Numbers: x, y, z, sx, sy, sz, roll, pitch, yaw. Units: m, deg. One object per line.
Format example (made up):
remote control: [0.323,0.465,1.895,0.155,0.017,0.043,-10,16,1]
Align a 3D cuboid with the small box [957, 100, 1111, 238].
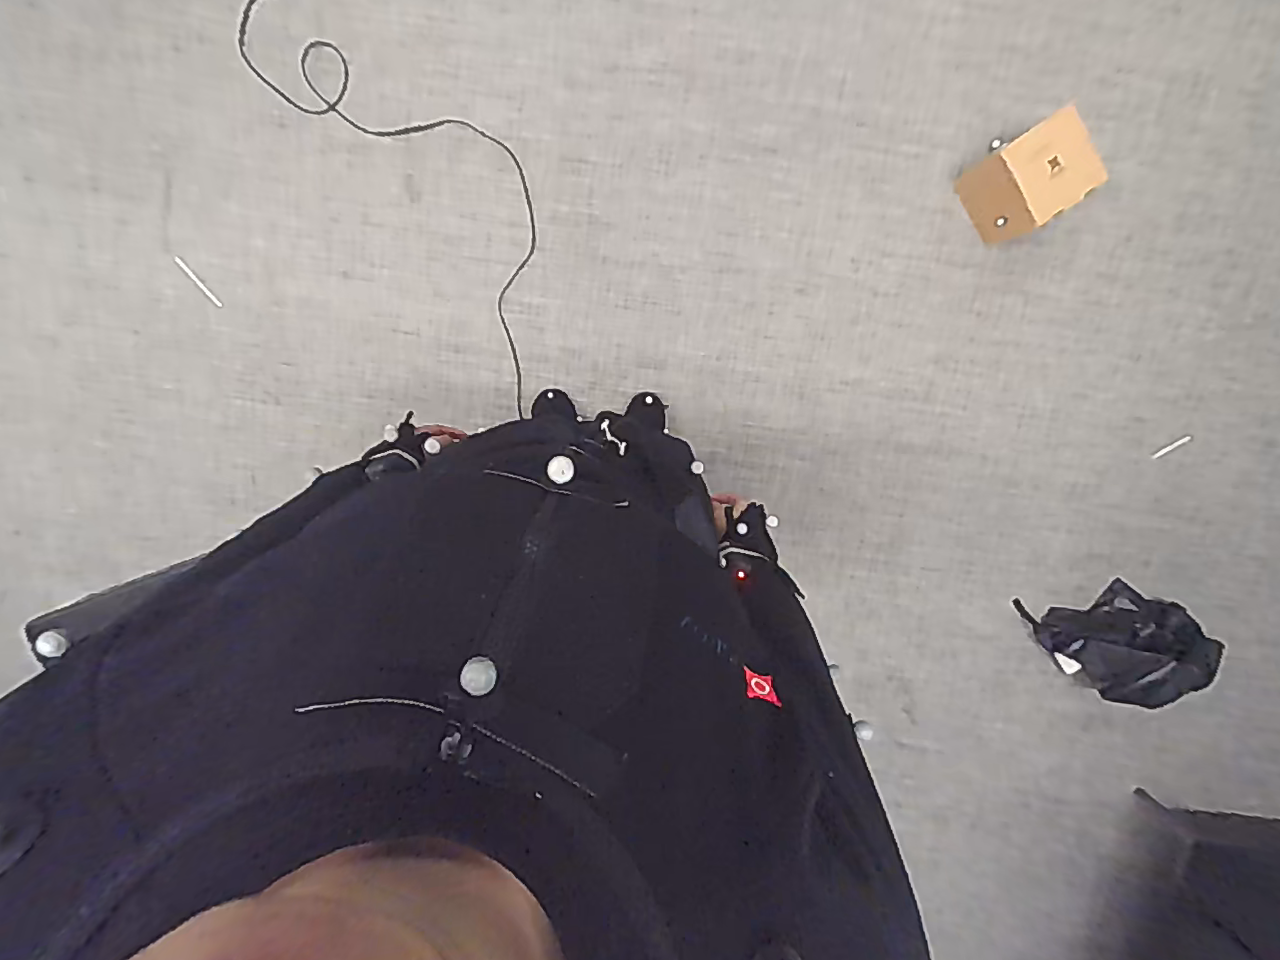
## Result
small box: [0.828,-0.644,1.153,0.168,0.176,0.179,-35,99,5]
